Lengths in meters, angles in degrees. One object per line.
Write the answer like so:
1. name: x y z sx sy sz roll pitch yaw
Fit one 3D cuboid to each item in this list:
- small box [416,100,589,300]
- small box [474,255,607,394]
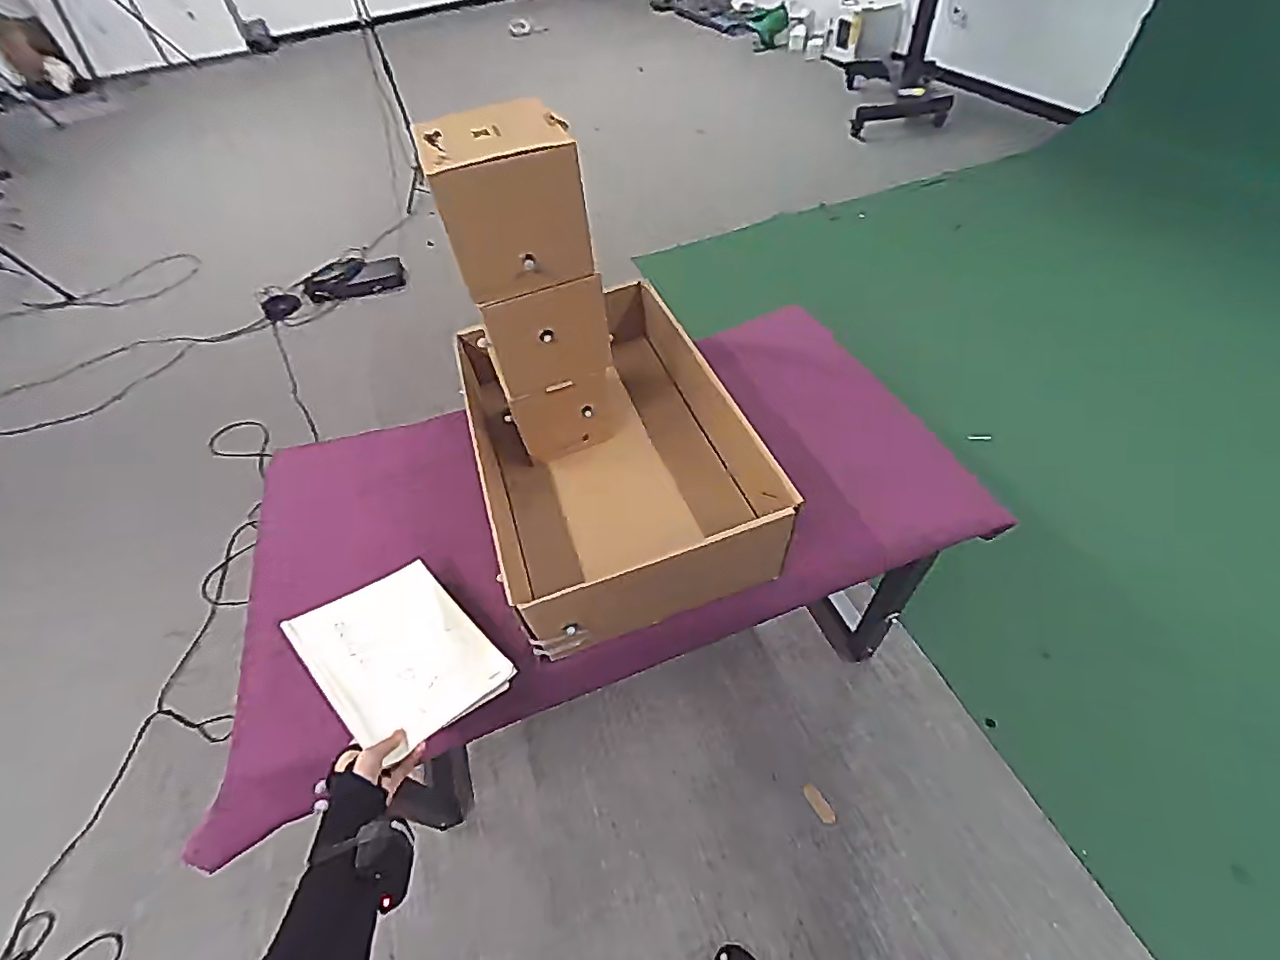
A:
1. small box: -0.172 -0.366 0.713 0.179 0.176 0.168 -18 52 -10
2. small box: -0.157 -0.263 0.840 0.179 0.176 0.168 -21 53 -11
